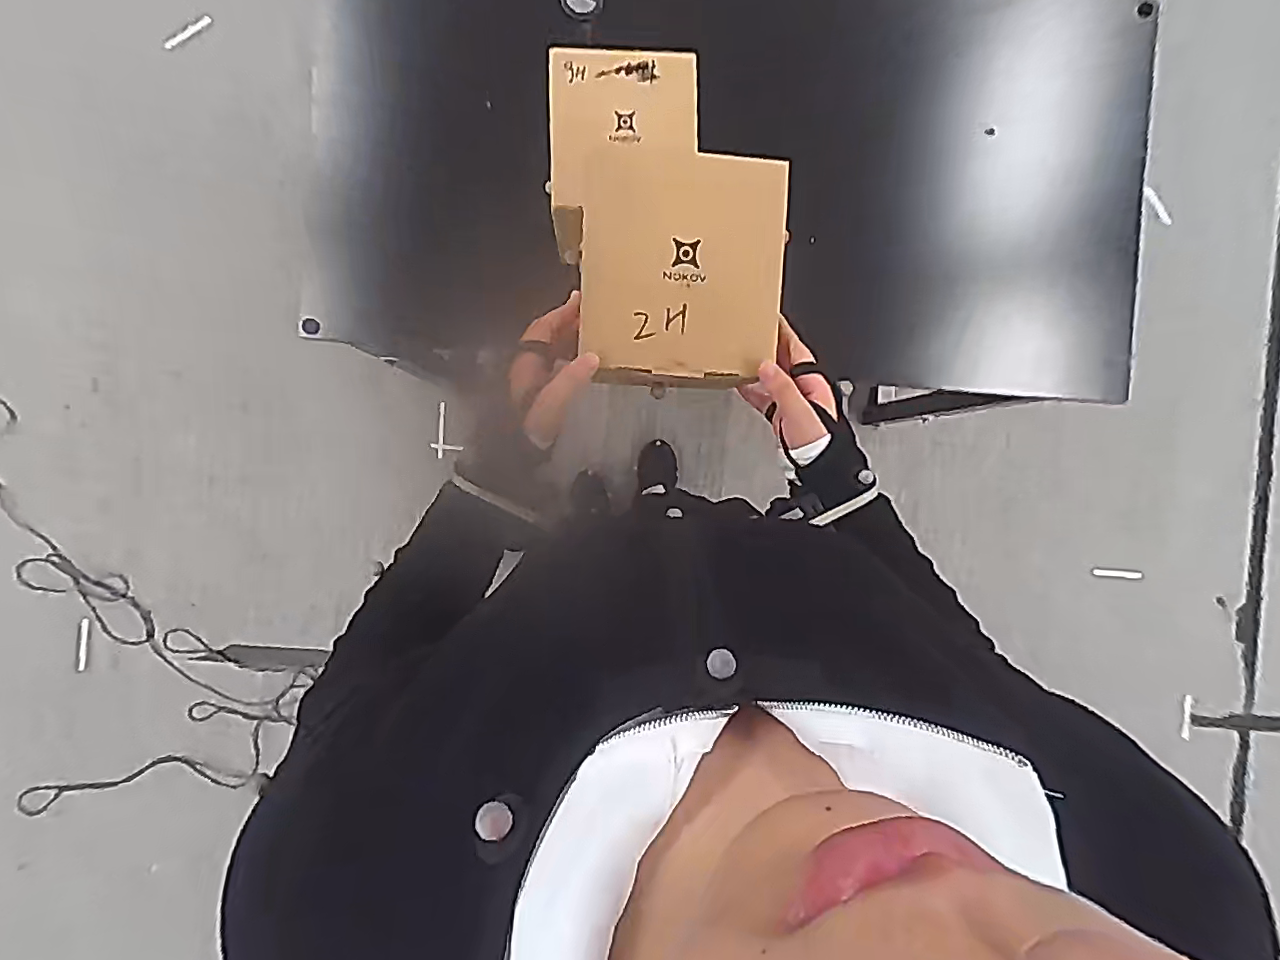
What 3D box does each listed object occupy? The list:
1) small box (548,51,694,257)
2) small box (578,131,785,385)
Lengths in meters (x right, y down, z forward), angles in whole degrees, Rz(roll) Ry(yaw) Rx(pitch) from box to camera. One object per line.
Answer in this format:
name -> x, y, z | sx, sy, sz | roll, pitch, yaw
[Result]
small box -> -0.025, -0.391, 0.685 | 0.168, 0.176, 0.179 | 0, 91, -3
small box -> 0.026, -0.191, 0.517 | 0.168, 0.176, 0.179 | 2, 95, -5
